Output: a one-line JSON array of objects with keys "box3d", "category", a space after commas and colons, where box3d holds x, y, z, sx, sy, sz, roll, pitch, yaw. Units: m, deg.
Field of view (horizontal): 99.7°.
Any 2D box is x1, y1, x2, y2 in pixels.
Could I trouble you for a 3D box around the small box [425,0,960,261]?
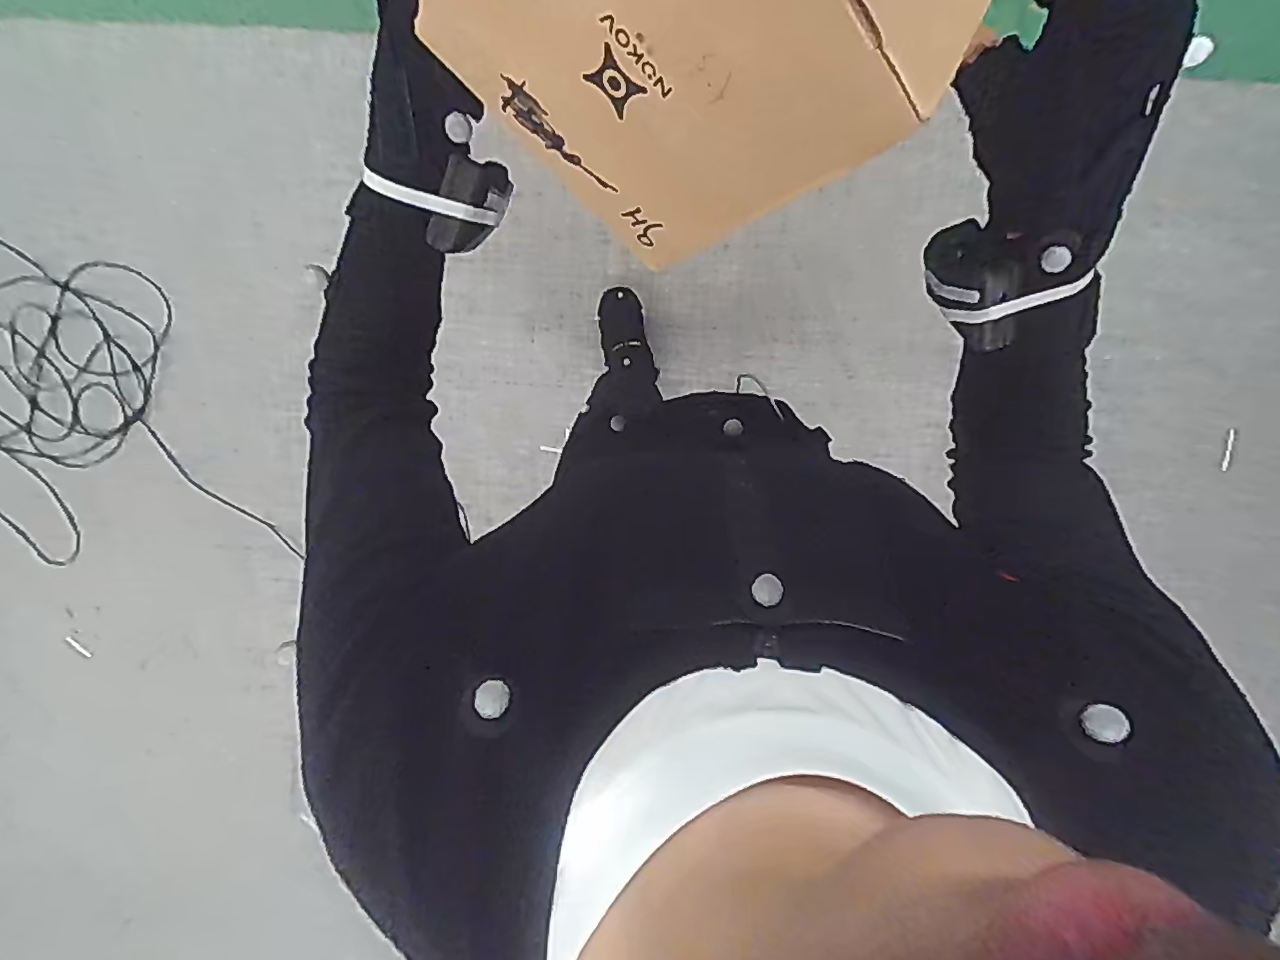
[{"box3d": [0.034, -0.246, 0.250, 0.168, 0.179, 0.176, 38, 72, -26], "category": "small box"}]
